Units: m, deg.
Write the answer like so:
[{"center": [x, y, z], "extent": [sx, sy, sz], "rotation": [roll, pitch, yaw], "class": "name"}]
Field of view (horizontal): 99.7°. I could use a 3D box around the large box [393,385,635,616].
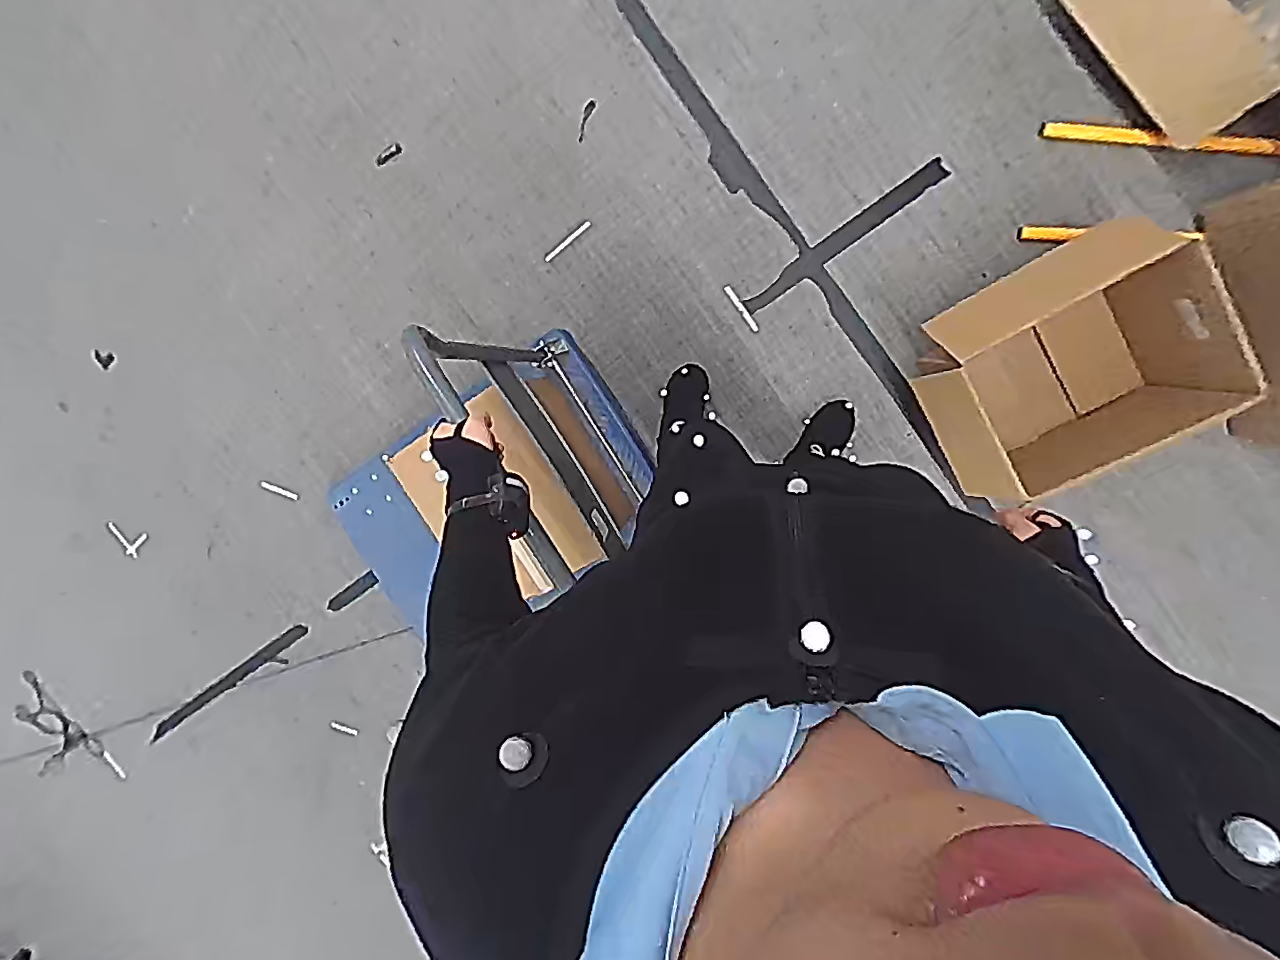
[{"center": [-0.267, 0.030, 1.263], "extent": [0.320, 0.320, 0.408], "rotation": [-30, 94, 16], "class": "large box"}]
